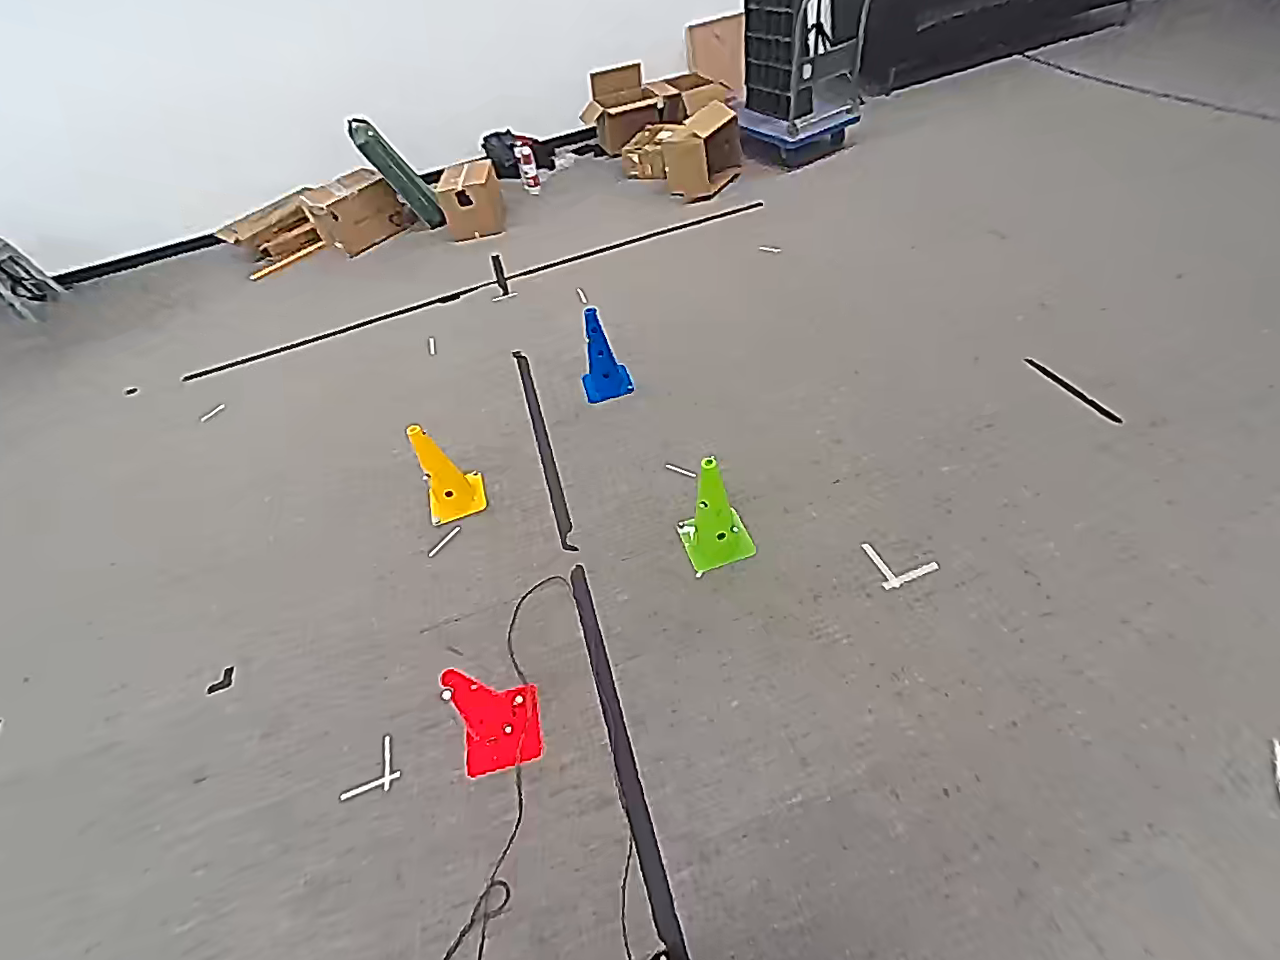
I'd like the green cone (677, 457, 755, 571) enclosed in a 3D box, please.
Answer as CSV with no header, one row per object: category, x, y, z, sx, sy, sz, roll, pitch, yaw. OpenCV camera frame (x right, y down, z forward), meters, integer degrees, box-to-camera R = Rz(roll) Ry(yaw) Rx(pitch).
green cone,0.214,0.074,1.579,0.202,0.368,0.200,-17,48,-6

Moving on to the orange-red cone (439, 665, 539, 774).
orange-red cone,-0.392,0.537,1.295,0.199,0.360,0.198,-15,46,-1

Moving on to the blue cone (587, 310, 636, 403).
blue cone,-0.147,-0.512,2.189,0.192,0.380,0.193,-15,48,-3
